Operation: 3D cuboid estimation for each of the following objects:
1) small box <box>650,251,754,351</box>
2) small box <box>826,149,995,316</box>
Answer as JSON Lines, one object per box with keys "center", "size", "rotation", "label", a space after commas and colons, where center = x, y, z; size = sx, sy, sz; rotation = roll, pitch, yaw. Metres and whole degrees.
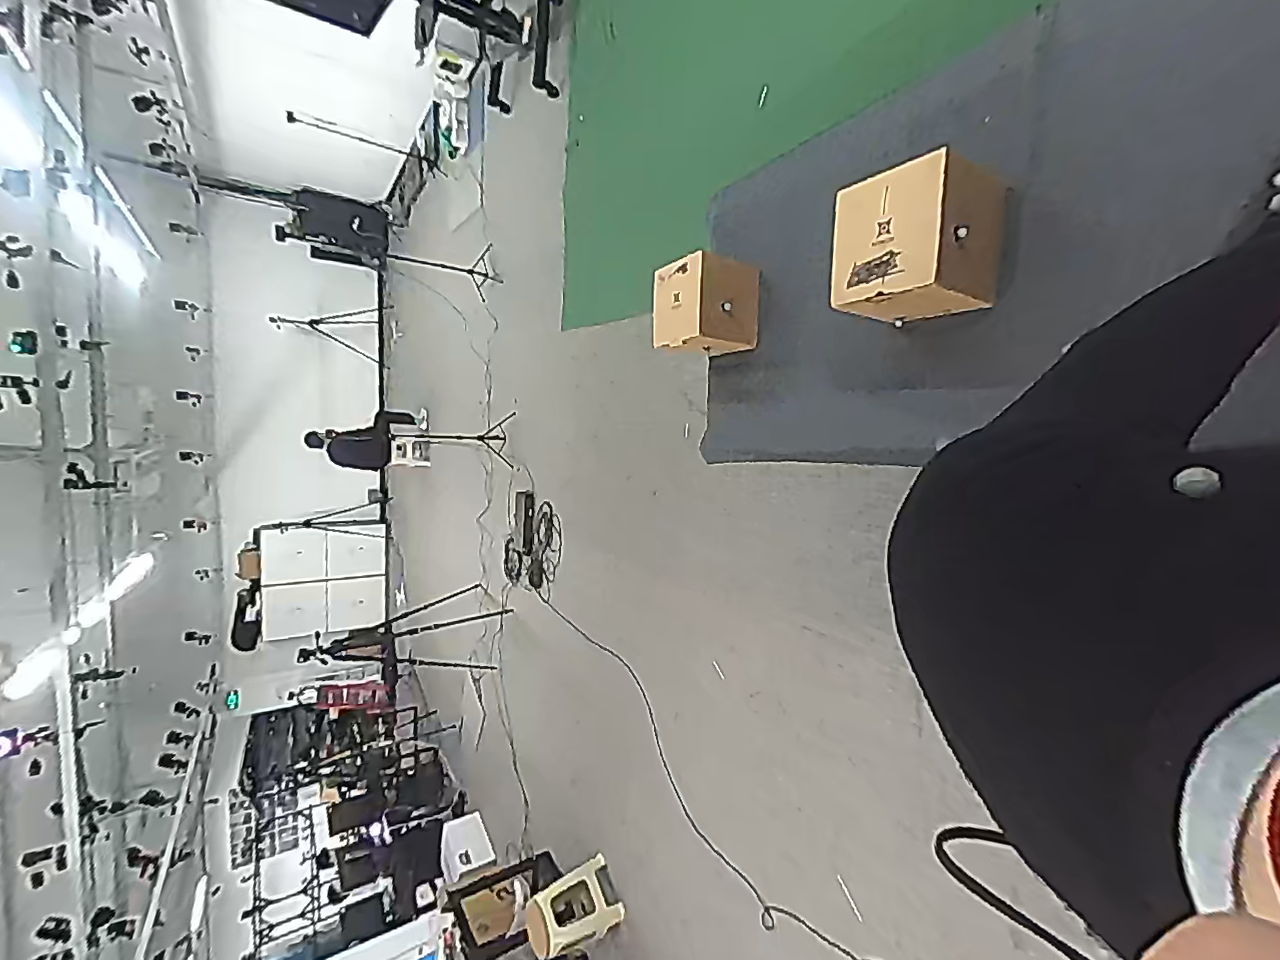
{"center": [0.138, -0.384, 1.200], "size": [0.168, 0.176, 0.179], "rotation": [5, 97, 54], "label": "small box"}
{"center": [0.403, -0.350, 0.809], "size": [0.168, 0.176, 0.179], "rotation": [9, 98, 56], "label": "small box"}
